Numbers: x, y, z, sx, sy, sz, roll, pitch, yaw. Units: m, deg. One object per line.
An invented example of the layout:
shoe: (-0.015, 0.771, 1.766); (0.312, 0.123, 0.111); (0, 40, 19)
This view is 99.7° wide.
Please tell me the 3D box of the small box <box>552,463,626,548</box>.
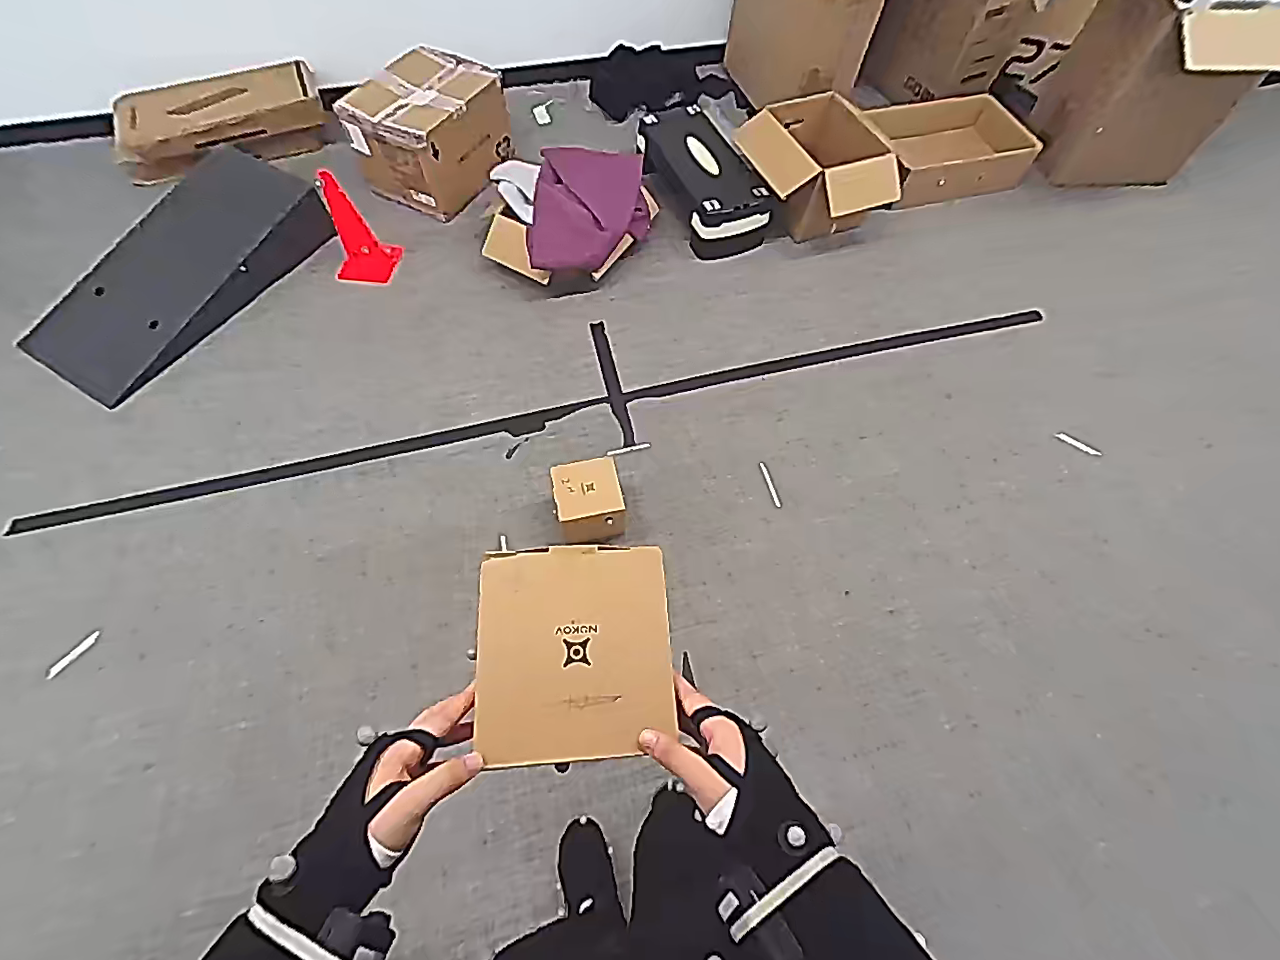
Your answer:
small box: (-0.140, 0.074, 1.504); (0.179, 0.176, 0.168); (-11, 63, -7)

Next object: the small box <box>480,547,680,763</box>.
small box: (-0.064, 0.176, 0.545); (0.168, 0.176, 0.179); (-1, 68, -9)
